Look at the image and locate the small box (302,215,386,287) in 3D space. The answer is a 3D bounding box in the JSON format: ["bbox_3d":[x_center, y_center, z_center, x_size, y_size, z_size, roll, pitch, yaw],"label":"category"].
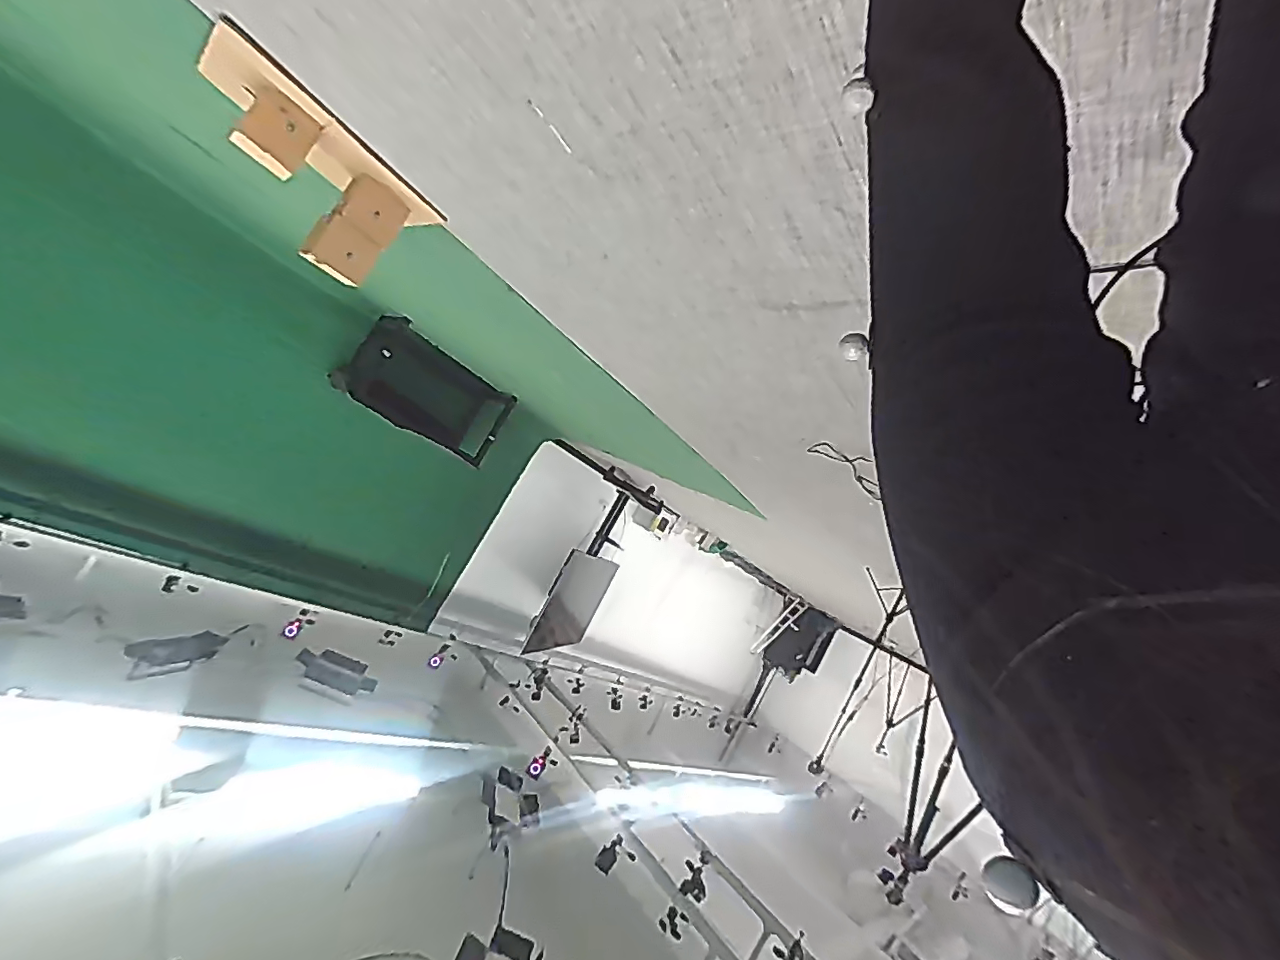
[{"bbox_3d":[-1.040,-0.809,1.904,0.168,0.176,0.179,24,174,41],"label":"small box"}]

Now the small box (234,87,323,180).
[{"bbox_3d":[-1.132,-1.081,1.696,0.179,0.176,0.168,23,171,45],"label":"small box"}]
